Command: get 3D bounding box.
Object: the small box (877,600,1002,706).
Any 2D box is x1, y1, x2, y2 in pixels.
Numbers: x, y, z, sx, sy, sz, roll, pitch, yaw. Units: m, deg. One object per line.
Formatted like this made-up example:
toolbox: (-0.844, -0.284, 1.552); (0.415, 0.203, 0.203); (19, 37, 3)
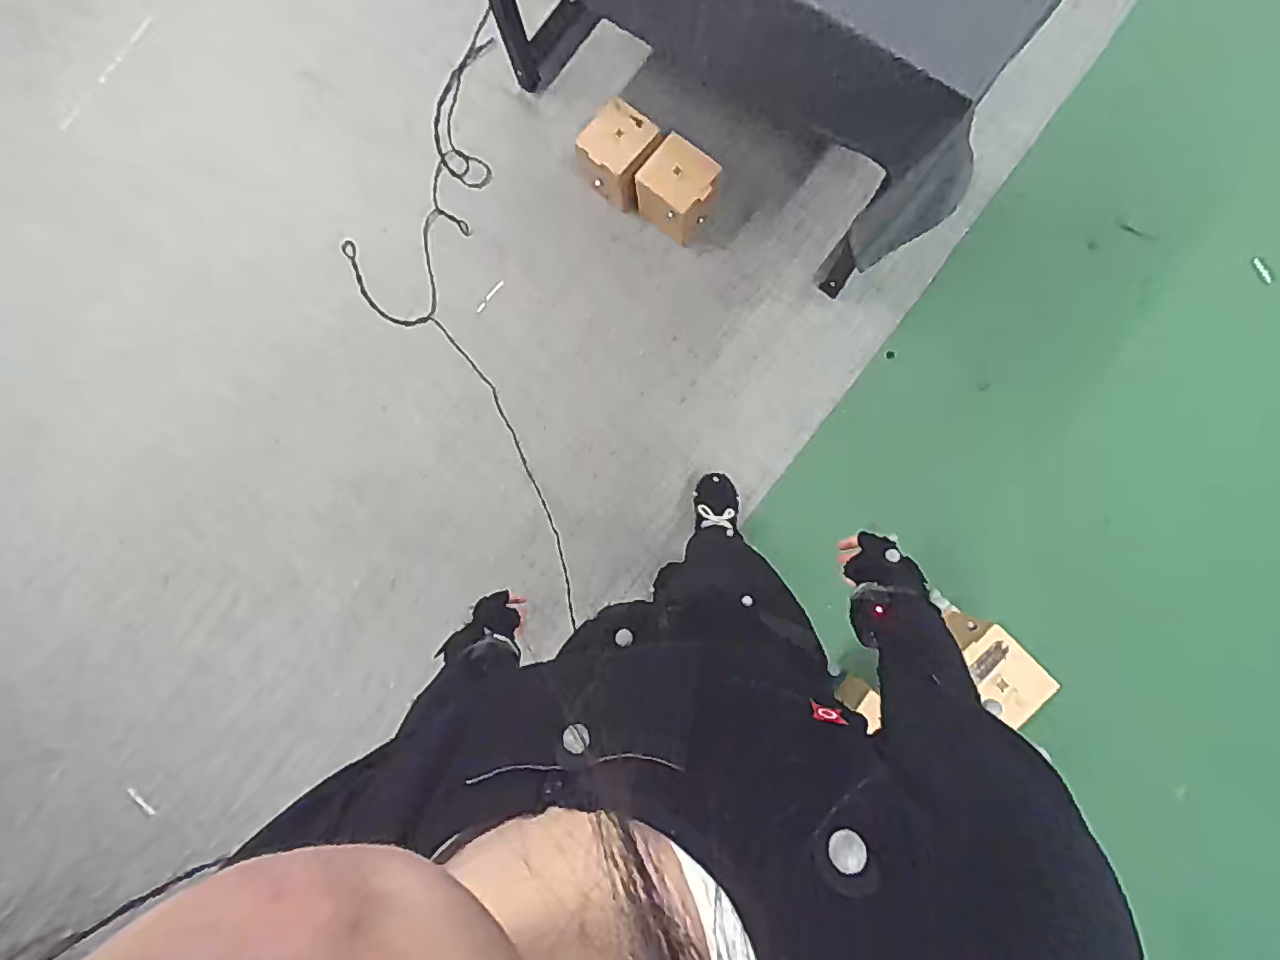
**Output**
small box: (0.732, 0.418, 1.340); (0.168, 0.176, 0.179); (-42, 83, -2)
